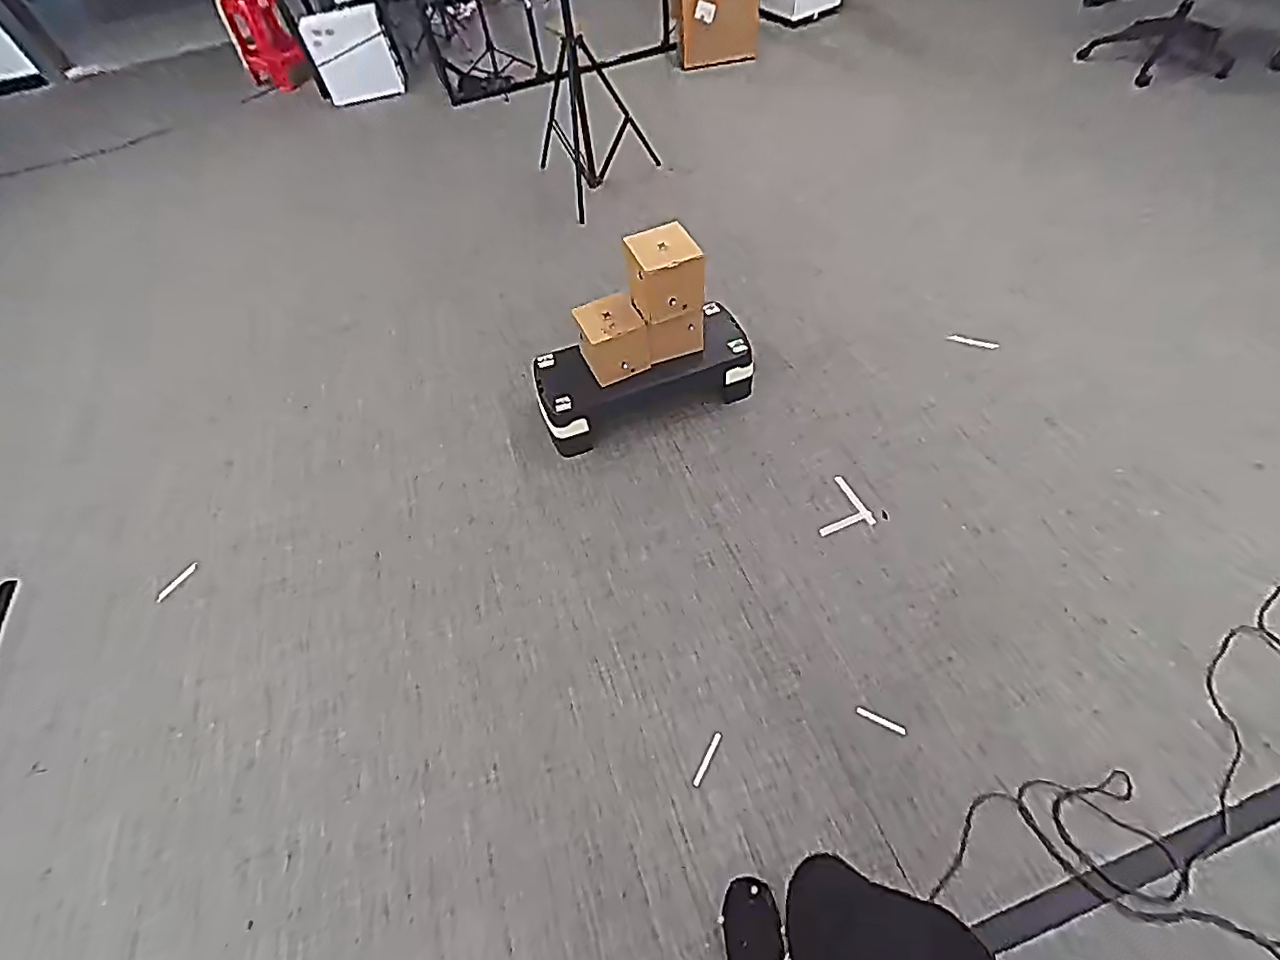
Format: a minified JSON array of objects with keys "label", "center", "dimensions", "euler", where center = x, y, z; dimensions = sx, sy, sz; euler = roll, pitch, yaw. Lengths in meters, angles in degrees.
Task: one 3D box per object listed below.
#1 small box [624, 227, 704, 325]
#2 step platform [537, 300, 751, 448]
[{"label":"small box","center":[0.066,-0.561,1.494],"dimensions":[0.168,0.176,0.179],"euler":[-21,57,-9]},{"label":"step platform","center":[0.012,-0.354,1.767],"dimensions":[0.684,0.204,0.286],"euler":[-20,56,-6]}]
